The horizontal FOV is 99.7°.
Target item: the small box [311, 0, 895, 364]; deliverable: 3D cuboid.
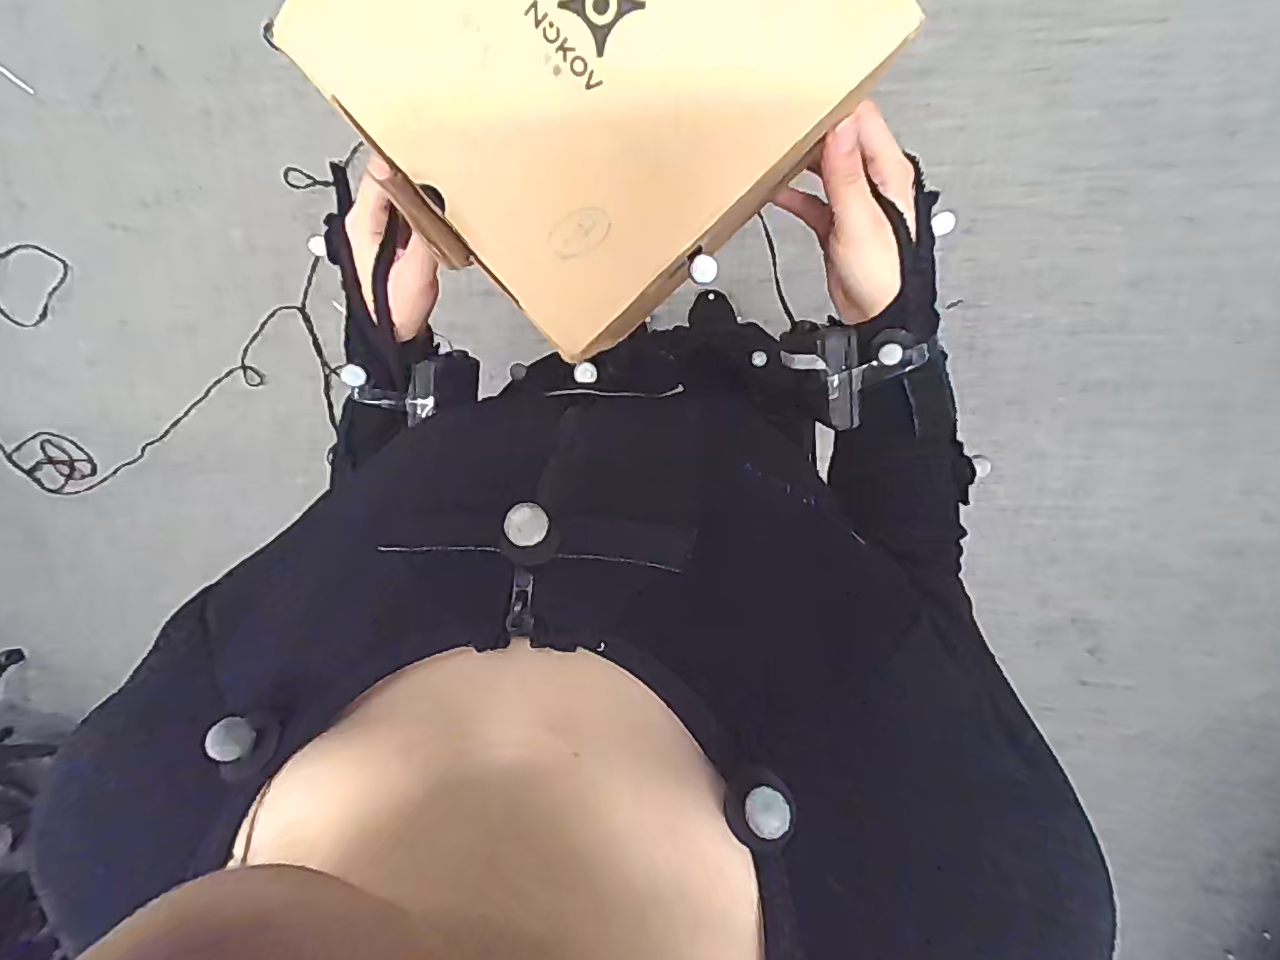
[{"bbox_3d":[-0.012,-0.185,0.286,0.179,0.176,0.168,-41,100,15],"label":"small box"}]
